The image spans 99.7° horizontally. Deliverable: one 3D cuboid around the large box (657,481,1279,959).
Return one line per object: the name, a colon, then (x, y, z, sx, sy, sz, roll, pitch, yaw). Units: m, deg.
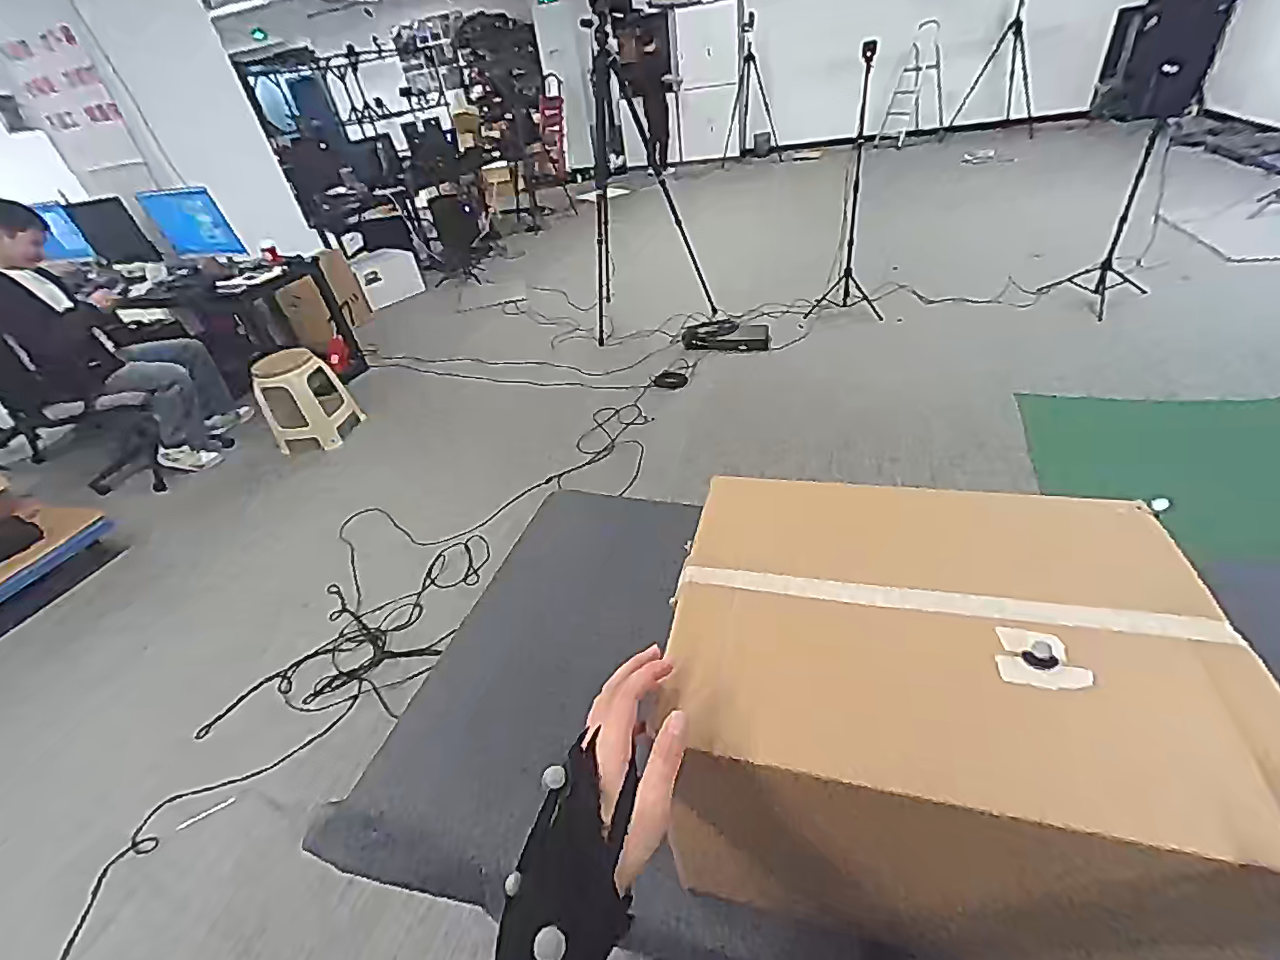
large box: (0.252, 0.224, 0.544, 0.408, 0.320, 0.320, 5, 39, 16)
